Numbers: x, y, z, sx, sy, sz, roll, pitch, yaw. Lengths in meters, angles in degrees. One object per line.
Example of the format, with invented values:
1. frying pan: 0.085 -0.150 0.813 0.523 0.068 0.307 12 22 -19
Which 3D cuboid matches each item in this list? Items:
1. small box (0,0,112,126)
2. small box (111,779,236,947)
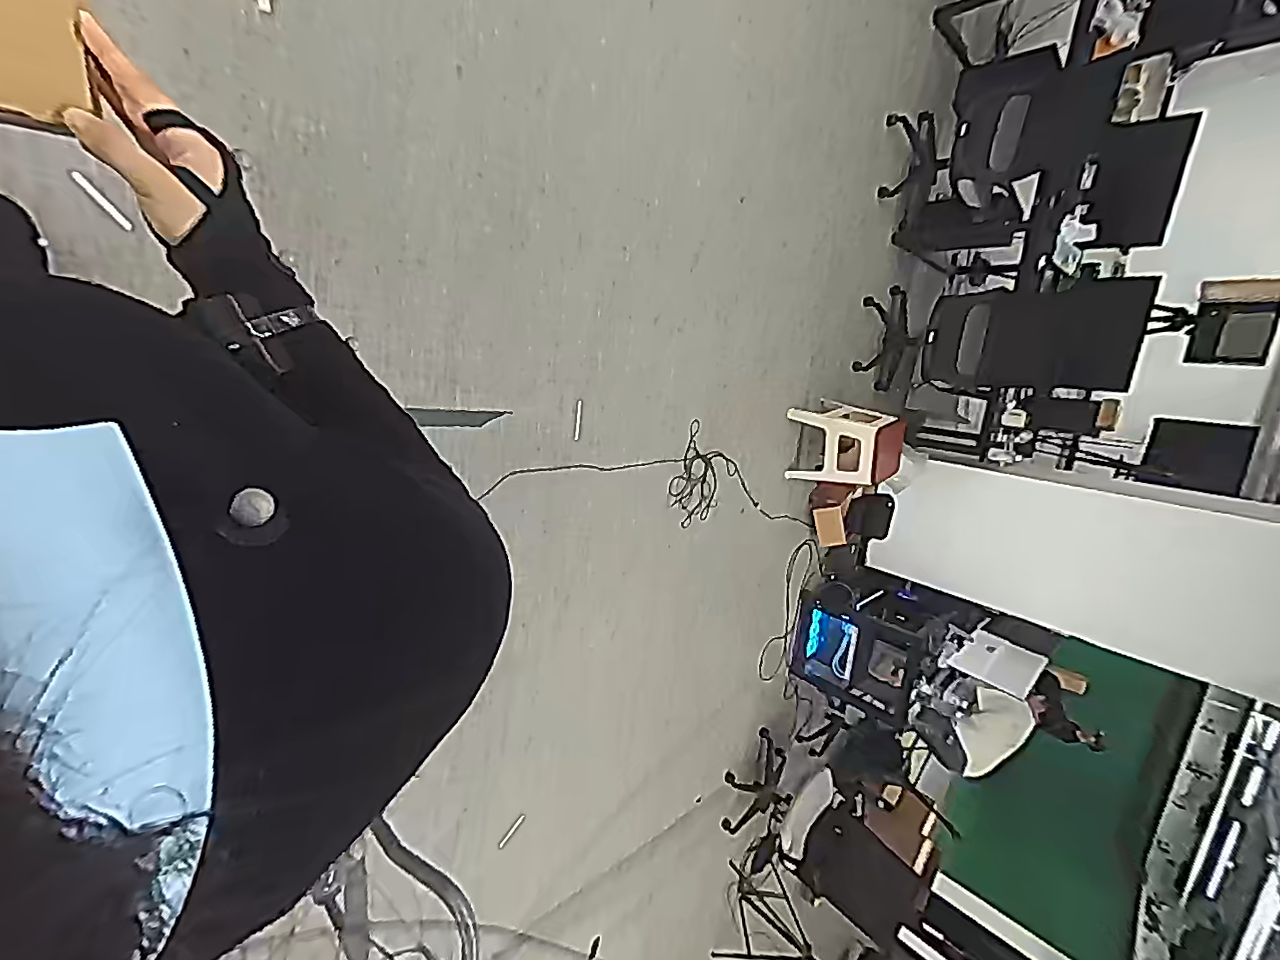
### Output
1. small box: -0.436 -0.333 0.316 0.168 0.176 0.179 -8 119 -40
2. small box: -0.934 0.753 1.085 0.168 0.176 0.179 -12 110 -43
